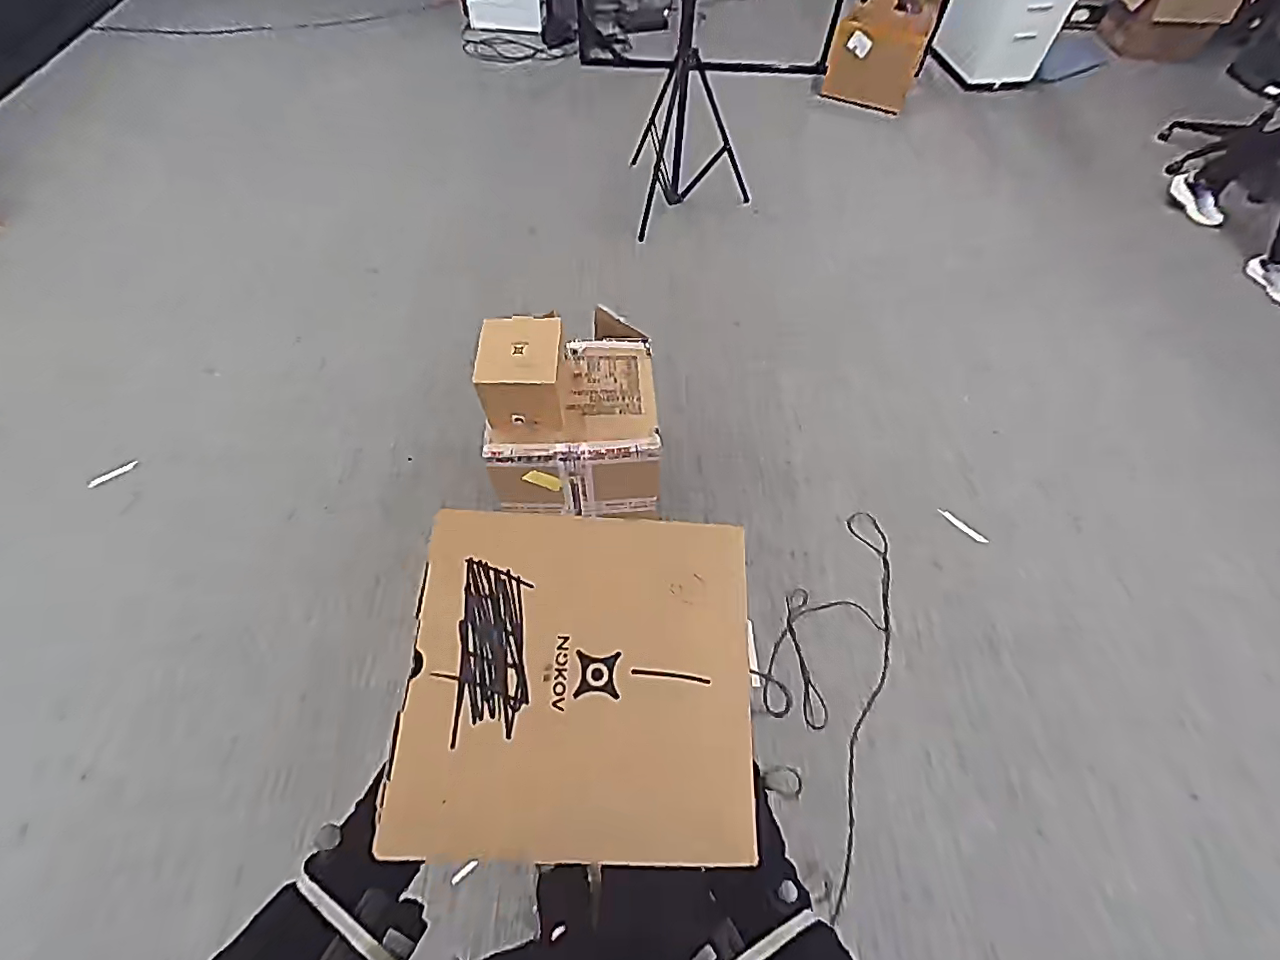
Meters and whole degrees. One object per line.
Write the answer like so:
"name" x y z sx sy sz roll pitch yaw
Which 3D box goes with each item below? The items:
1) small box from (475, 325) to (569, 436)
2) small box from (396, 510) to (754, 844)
"small box" -0.246 -0.214 1.173 0.168 0.176 0.179 -1 63 0
"small box" -0.032 0.127 0.363 0.179 0.176 0.168 3 68 -3
